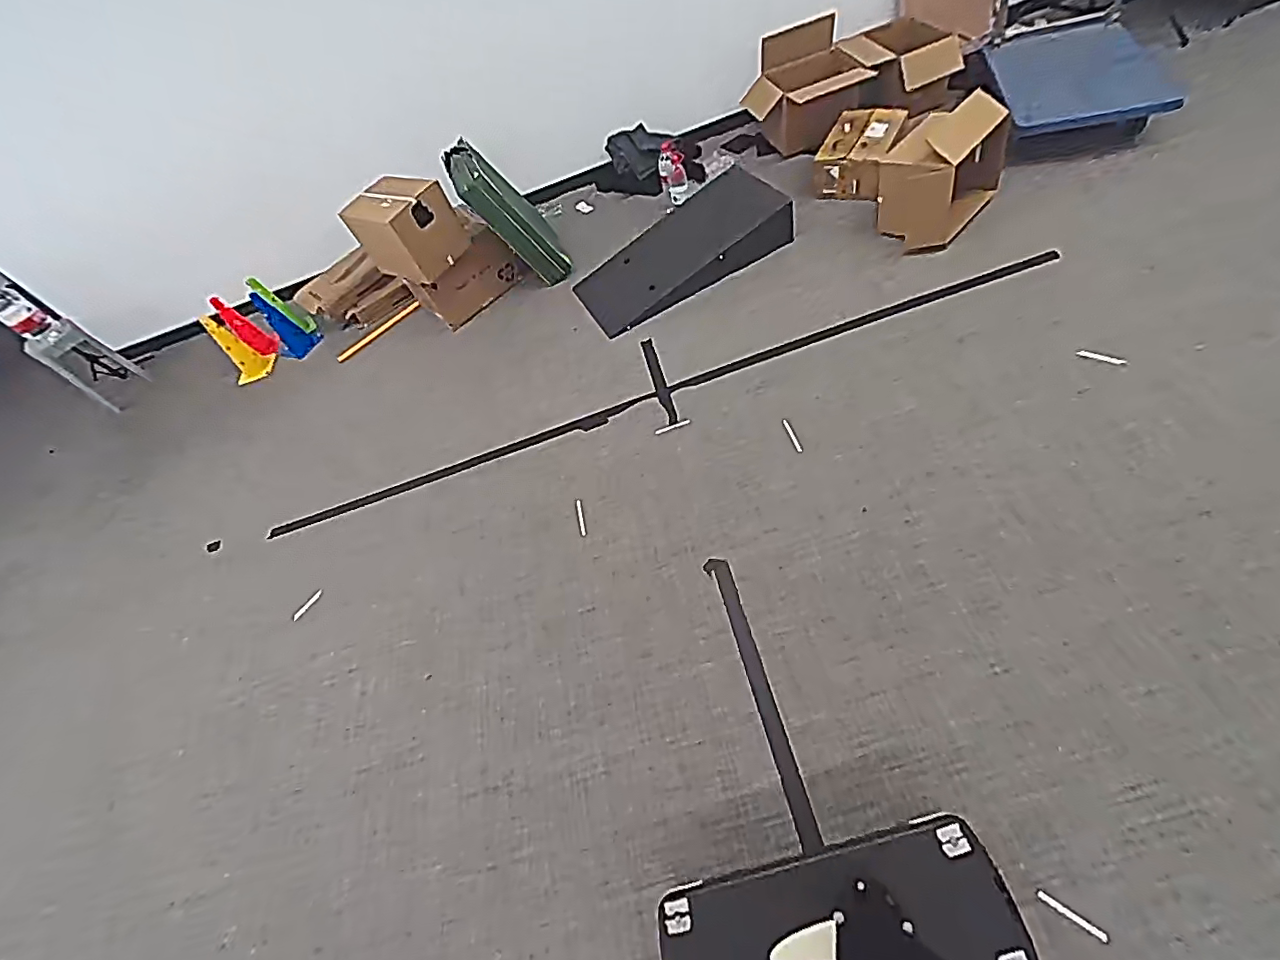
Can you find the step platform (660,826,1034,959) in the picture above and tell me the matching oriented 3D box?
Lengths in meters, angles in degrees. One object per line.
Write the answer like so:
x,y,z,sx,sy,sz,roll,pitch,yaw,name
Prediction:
0.383,0.935,1.069,0.684,0.204,0.286,-19,53,3,step platform
